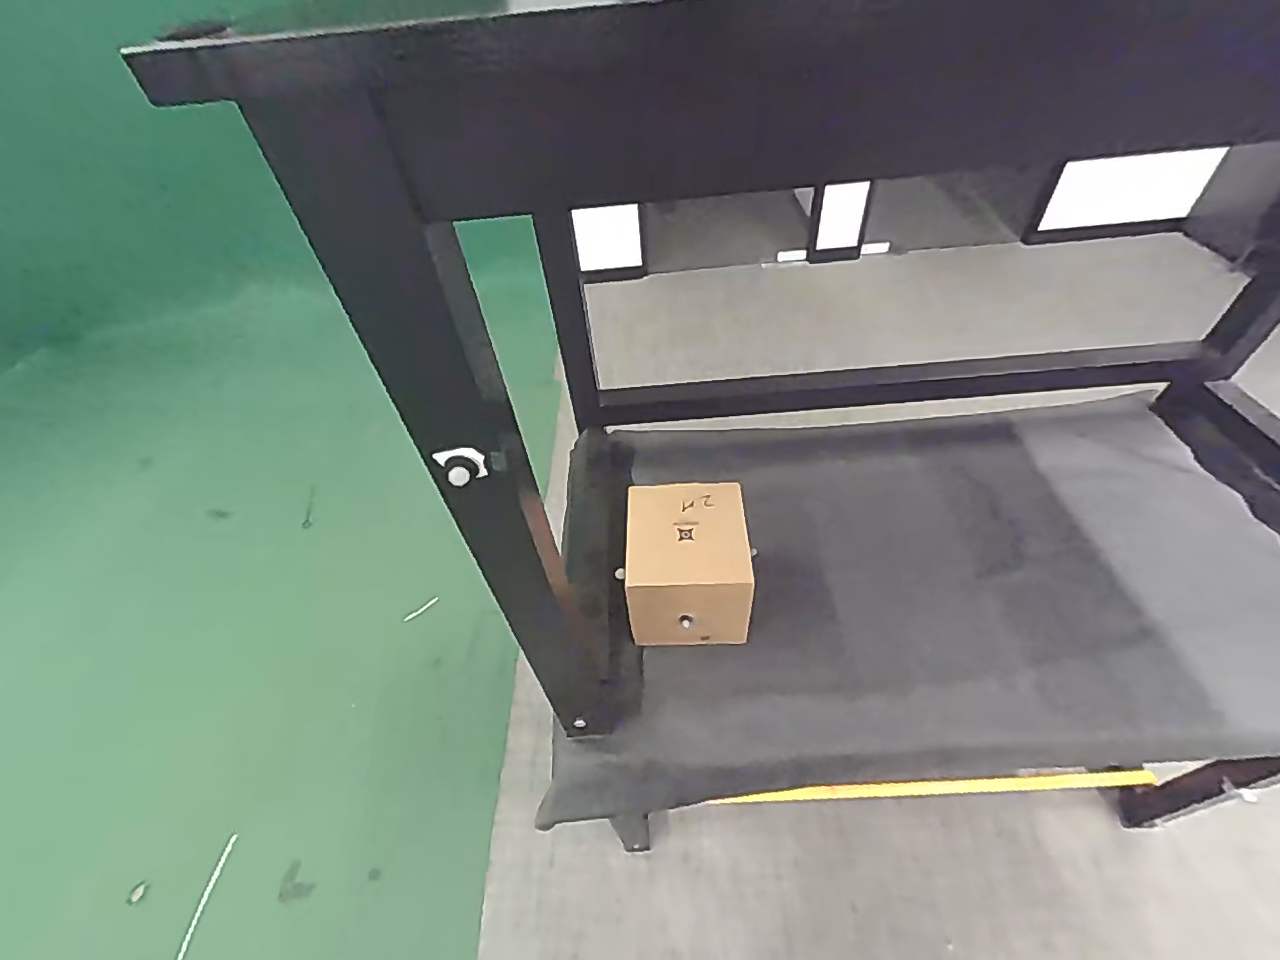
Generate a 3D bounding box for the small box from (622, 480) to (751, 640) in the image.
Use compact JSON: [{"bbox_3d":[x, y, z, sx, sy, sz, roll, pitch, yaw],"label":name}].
[{"bbox_3d":[0.068,0.121,0.789,0.168,0.176,0.179,-2,47,4],"label":"small box"}]
